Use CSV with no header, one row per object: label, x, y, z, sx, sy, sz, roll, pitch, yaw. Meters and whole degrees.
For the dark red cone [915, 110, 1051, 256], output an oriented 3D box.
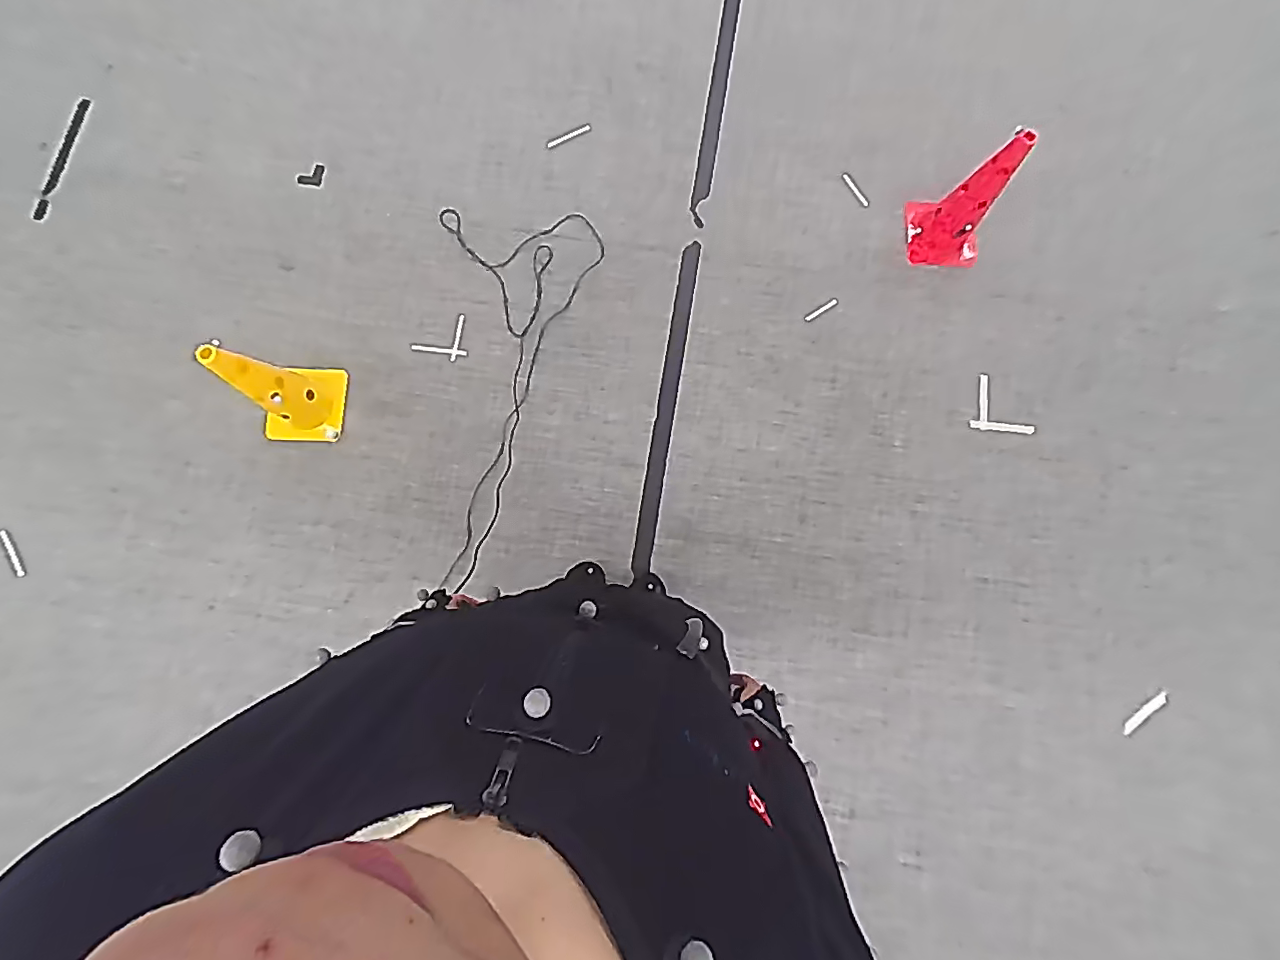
dark red cone,0.870,-0.751,1.351,0.201,0.394,0.202,1,81,1
